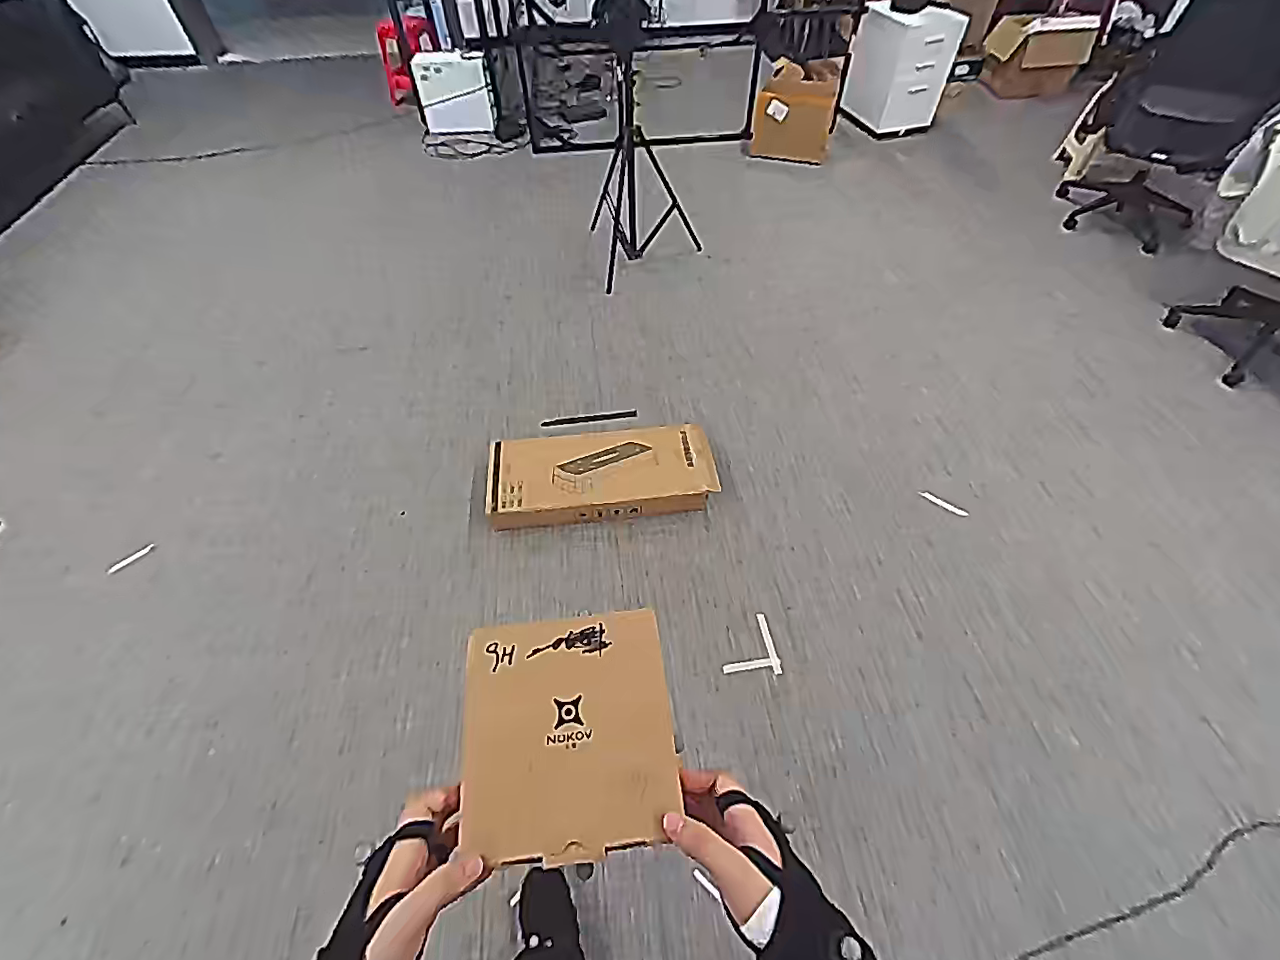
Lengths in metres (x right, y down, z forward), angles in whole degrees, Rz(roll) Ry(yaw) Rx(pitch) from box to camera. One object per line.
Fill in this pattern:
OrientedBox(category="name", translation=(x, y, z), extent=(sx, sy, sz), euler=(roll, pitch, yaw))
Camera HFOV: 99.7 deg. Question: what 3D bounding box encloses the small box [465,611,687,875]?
OrientedBox(category="small box", translation=(-0.054, 0.240, 0.499), extent=(0.168, 0.176, 0.179), euler=(-6, 57, -4))
